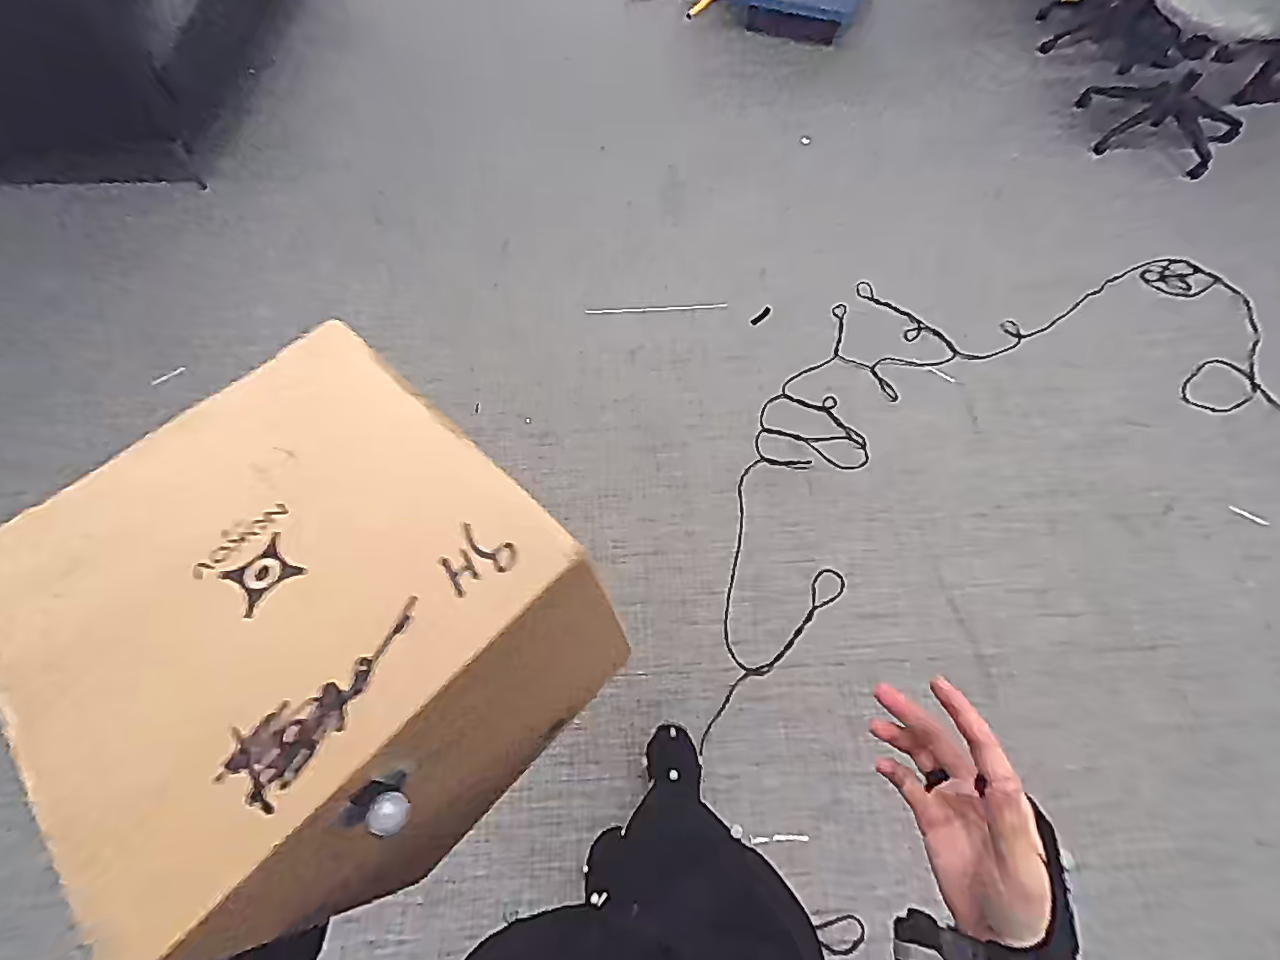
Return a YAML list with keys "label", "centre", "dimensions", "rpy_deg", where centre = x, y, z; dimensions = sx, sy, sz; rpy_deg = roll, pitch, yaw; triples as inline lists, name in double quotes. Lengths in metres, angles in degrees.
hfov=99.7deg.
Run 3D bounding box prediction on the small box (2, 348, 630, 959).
- label: "small box"
  centre: [-0.125, 0.075, 0.271]
  dimensions: [0.179, 0.176, 0.168]
  rpy_deg: [38, 71, 23]
